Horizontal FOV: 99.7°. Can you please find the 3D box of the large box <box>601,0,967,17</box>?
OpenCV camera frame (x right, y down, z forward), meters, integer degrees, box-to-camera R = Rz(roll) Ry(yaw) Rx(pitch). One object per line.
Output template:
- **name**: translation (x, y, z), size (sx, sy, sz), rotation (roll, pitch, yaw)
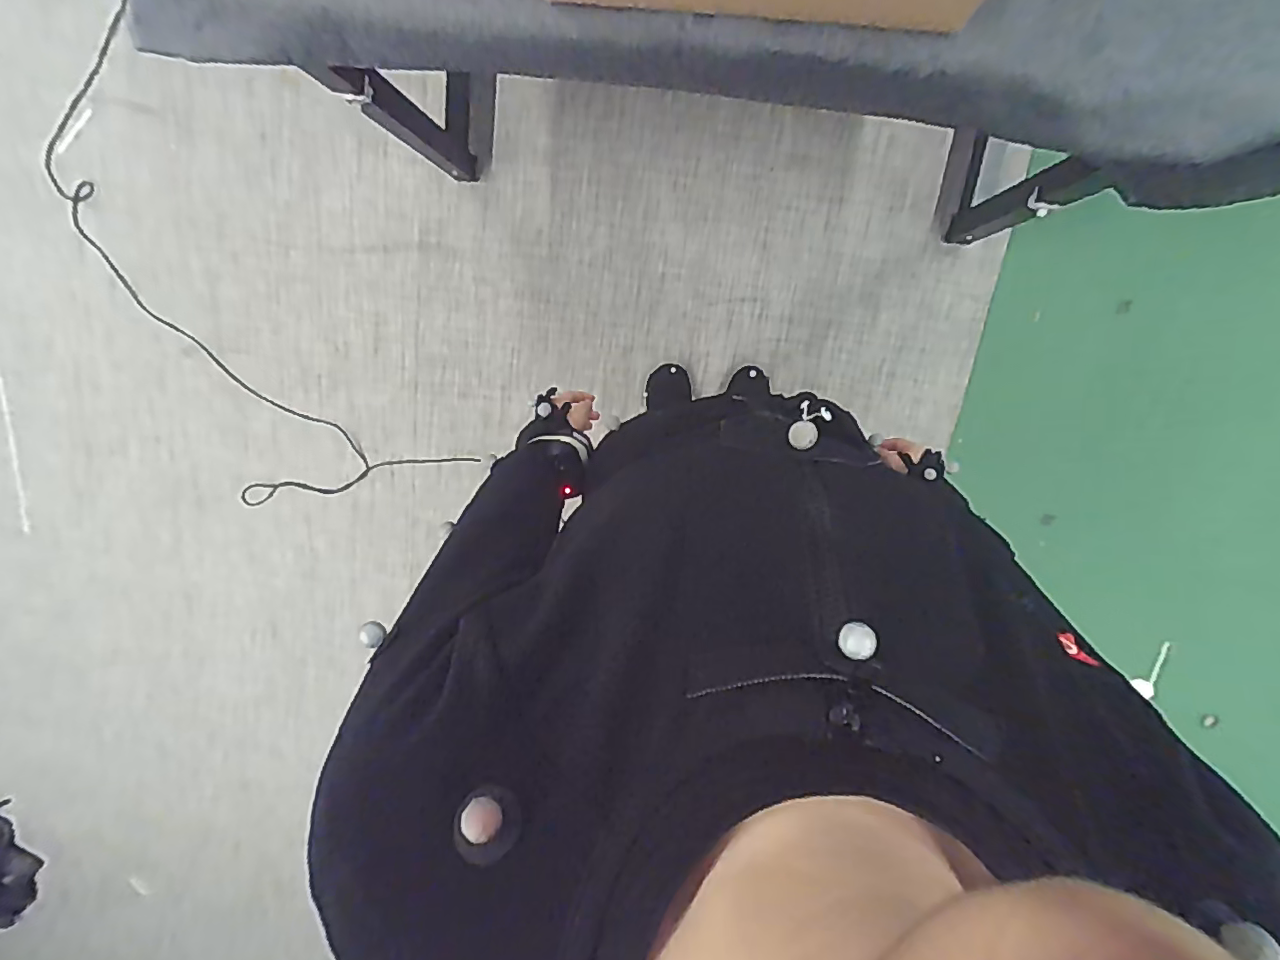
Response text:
- **large box**: translation (0.104, -0.570, 0.344), size (0.408, 0.320, 0.320), rotation (7, 103, 3)
